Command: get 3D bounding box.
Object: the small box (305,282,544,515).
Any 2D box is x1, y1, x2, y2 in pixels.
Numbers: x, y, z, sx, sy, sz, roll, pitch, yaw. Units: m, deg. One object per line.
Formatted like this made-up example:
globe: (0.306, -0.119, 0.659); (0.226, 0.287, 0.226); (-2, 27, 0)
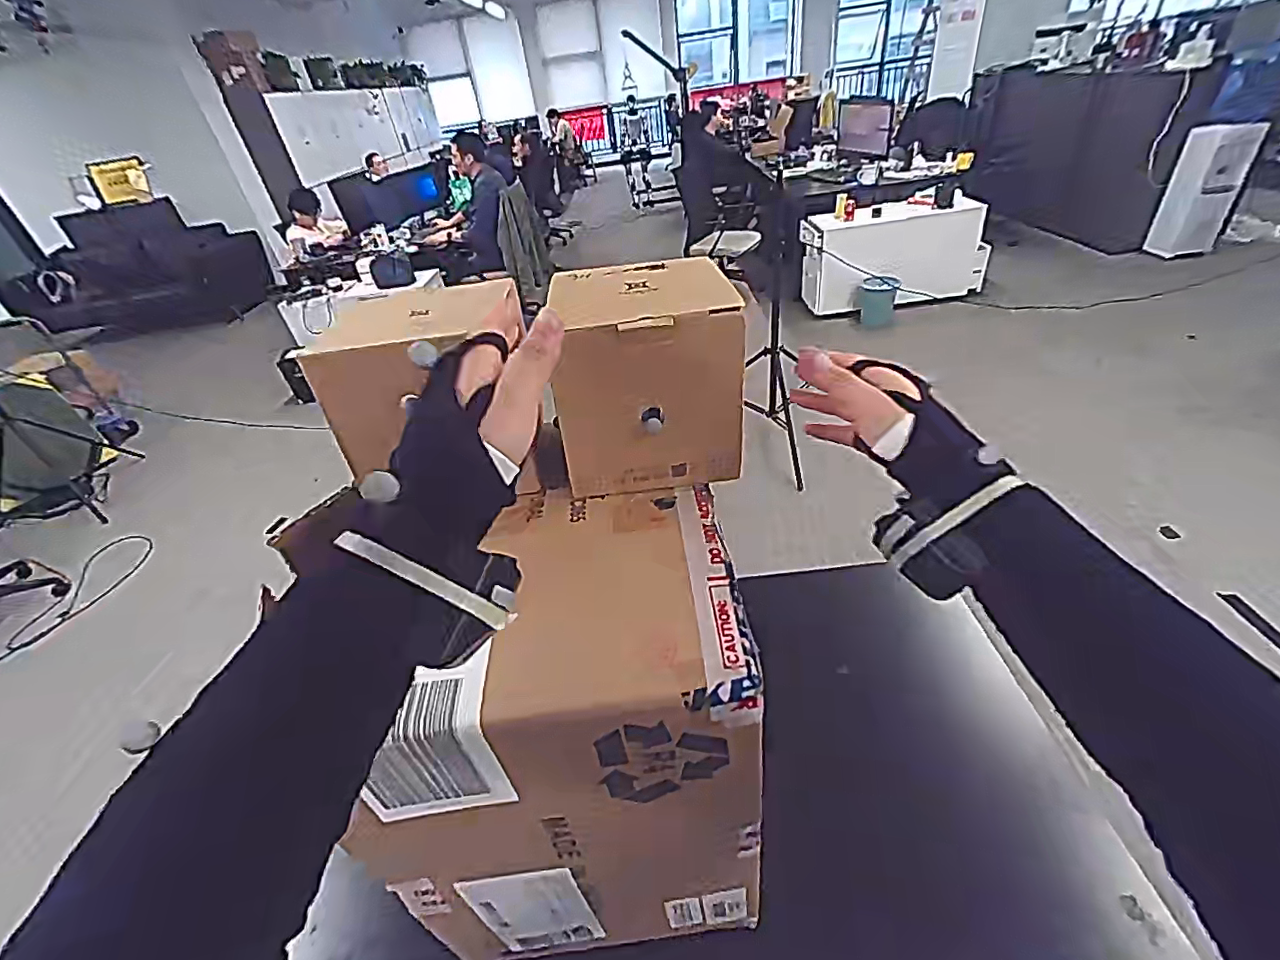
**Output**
small box: (-0.198, -0.088, 0.558); (0.168, 0.176, 0.179); (-10, 35, -3)
